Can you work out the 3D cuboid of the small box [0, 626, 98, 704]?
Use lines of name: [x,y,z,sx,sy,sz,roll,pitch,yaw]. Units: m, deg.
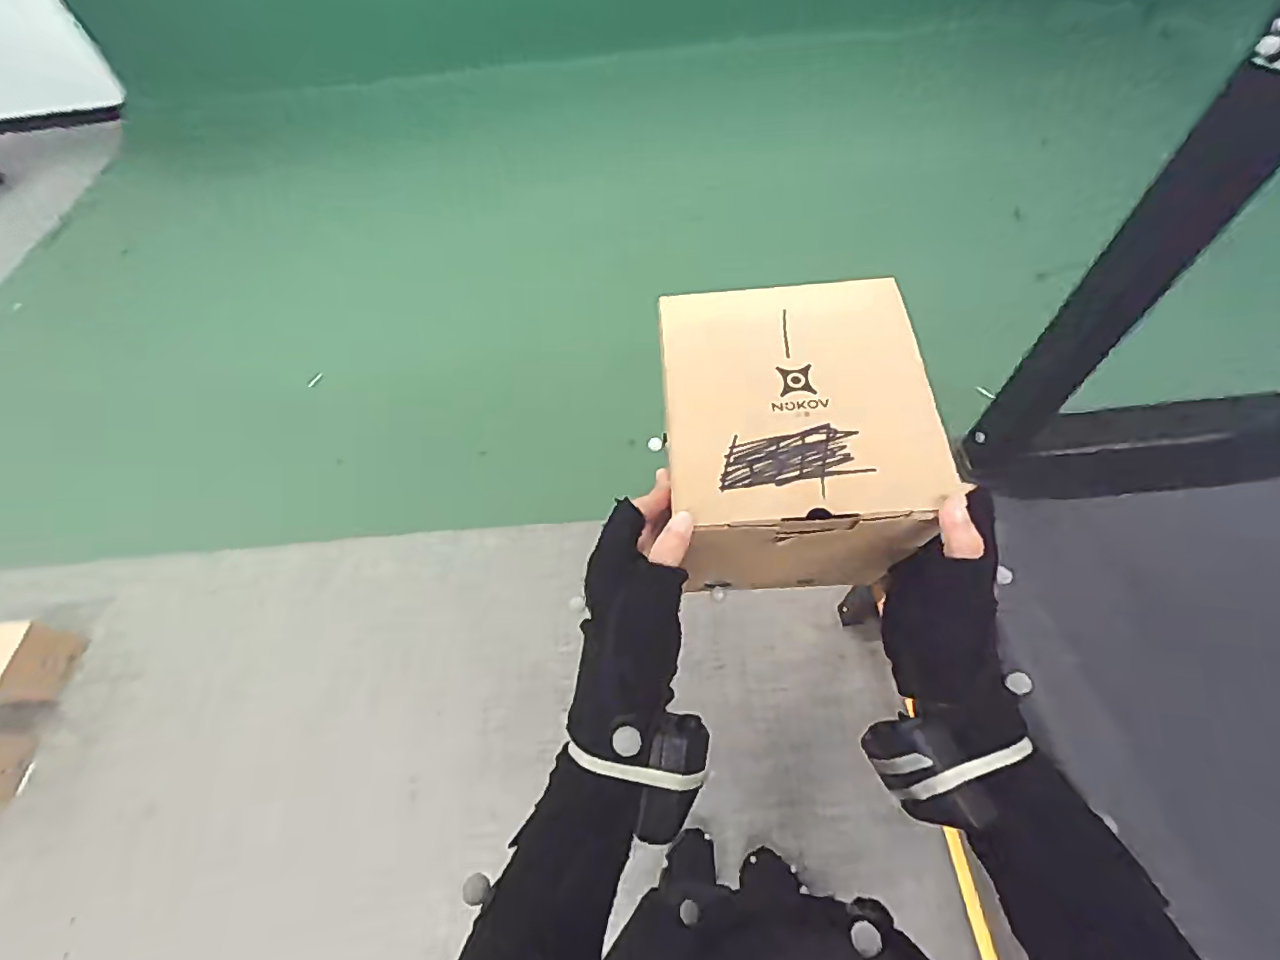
small box: [-1.658,0.505,1.470,0.179,0.176,0.168,-4,57,3]
